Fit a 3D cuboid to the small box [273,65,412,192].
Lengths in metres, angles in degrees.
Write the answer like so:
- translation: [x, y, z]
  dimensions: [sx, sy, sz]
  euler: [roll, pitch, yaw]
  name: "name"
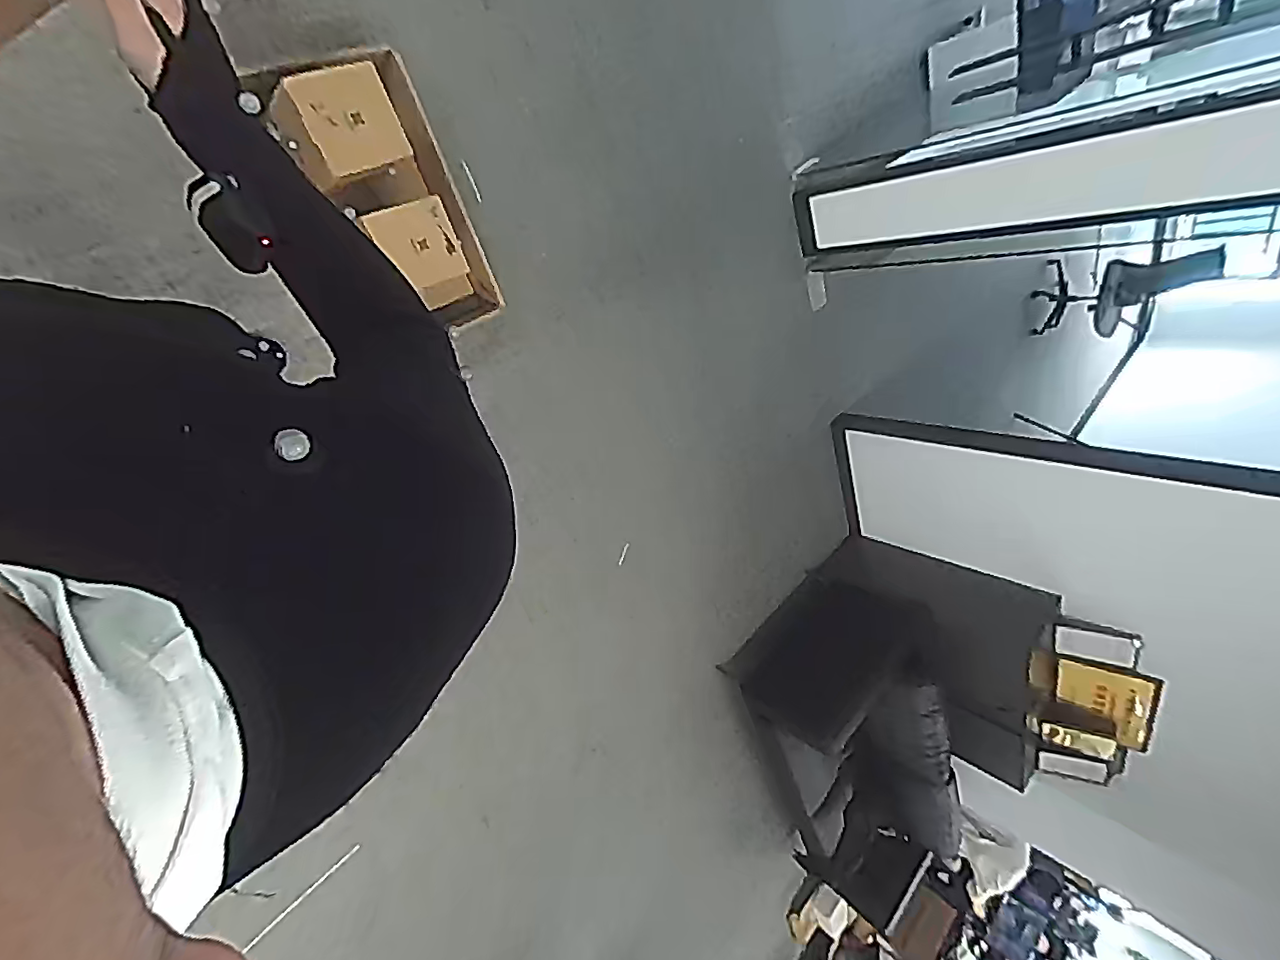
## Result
- translation: [-0.605, -0.707, 1.098]
  dimensions: [0.179, 0.176, 0.168]
  euler: [-36, 124, -27]
  name: "small box"
